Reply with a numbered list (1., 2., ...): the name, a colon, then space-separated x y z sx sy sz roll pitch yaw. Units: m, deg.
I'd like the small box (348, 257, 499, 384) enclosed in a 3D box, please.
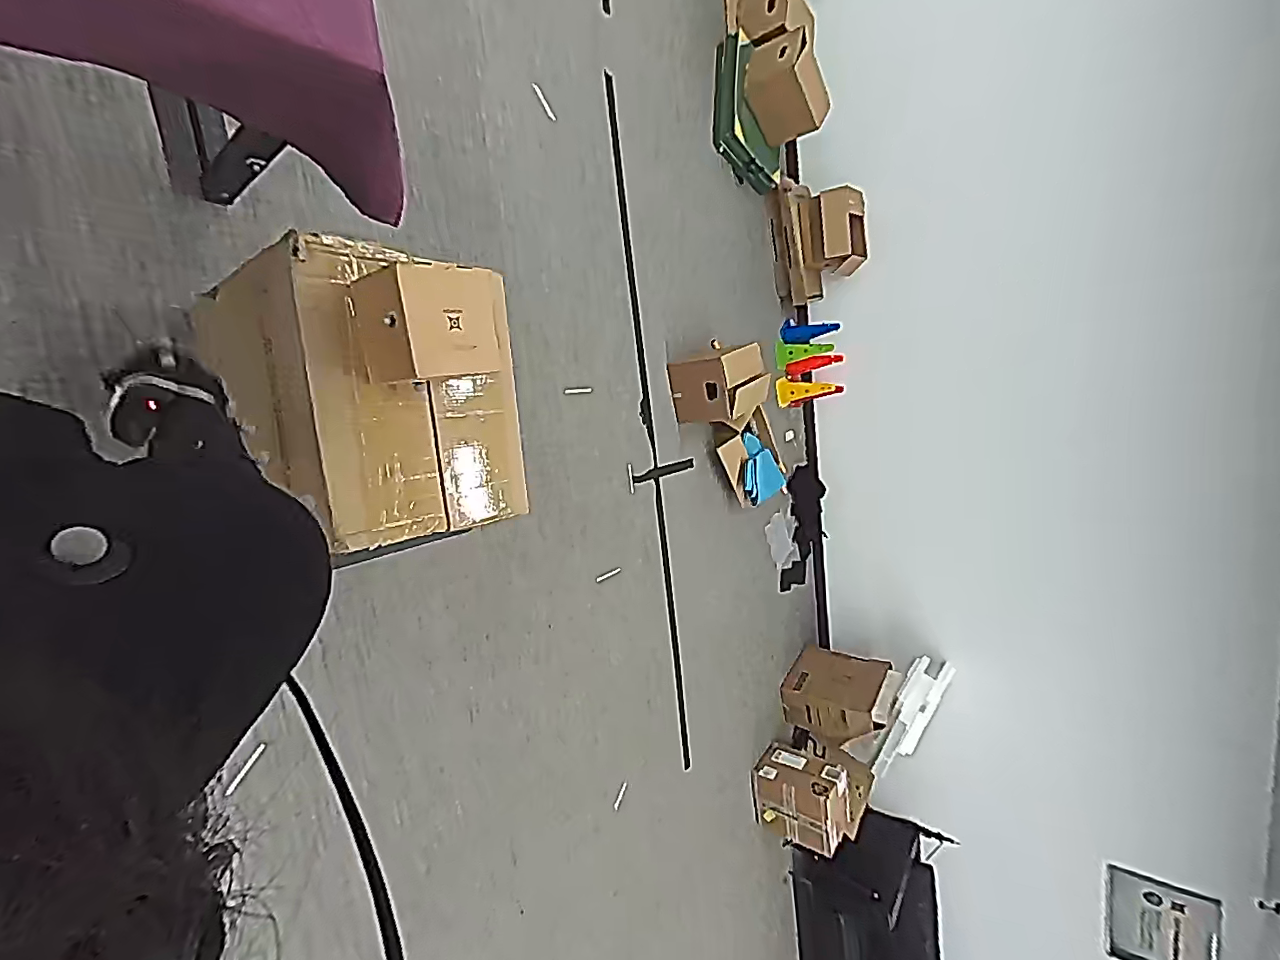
1. small box: -0.369 -0.263 0.920 0.168 0.176 0.179 -19 107 -48
